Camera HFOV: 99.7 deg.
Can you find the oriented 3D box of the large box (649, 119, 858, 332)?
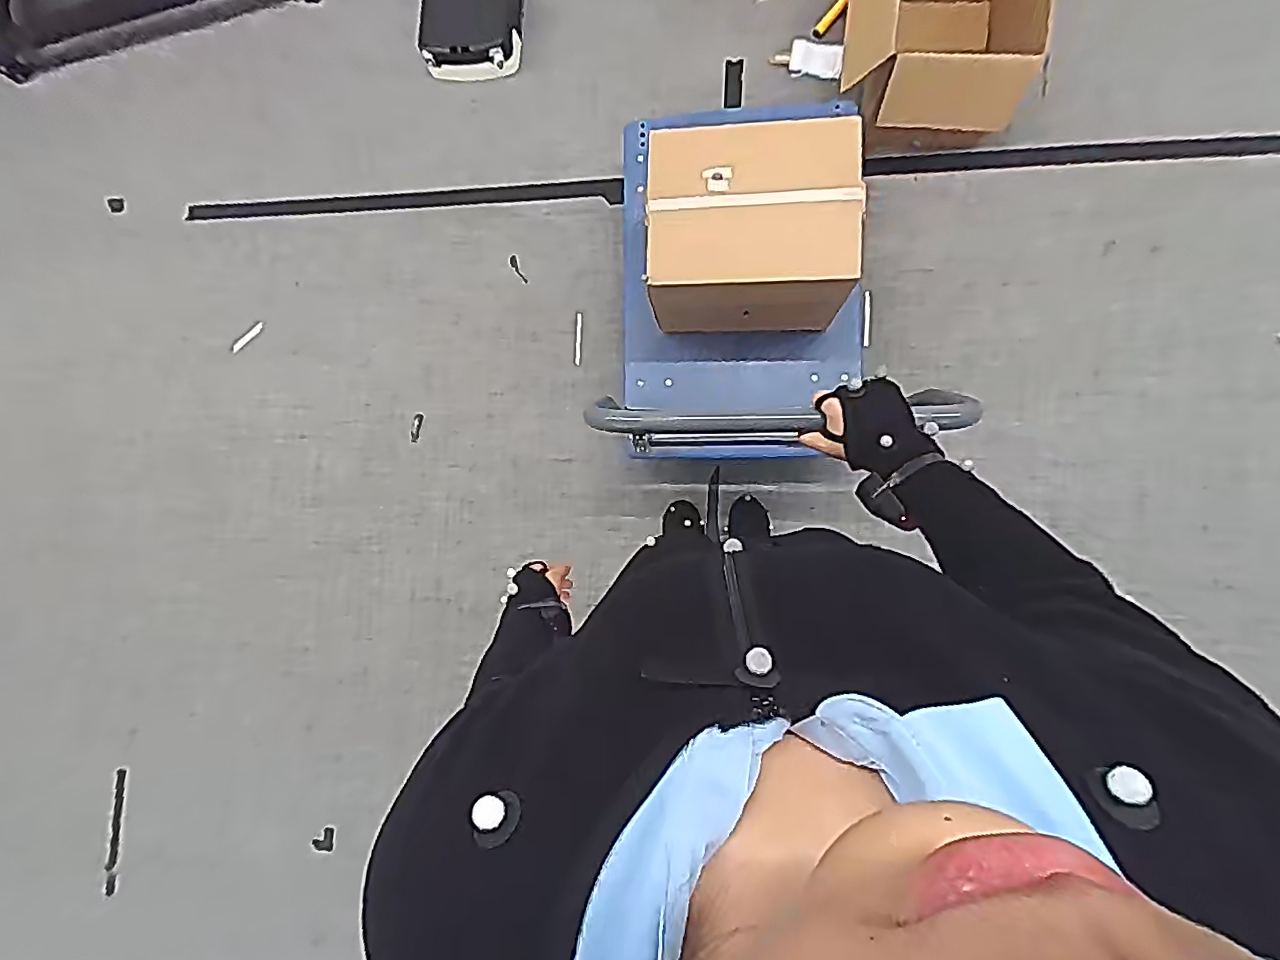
[{"bbox_3d":[0.240,-0.530,1.201,0.408,0.320,0.320,0,87,9],"label":"large box"}]
